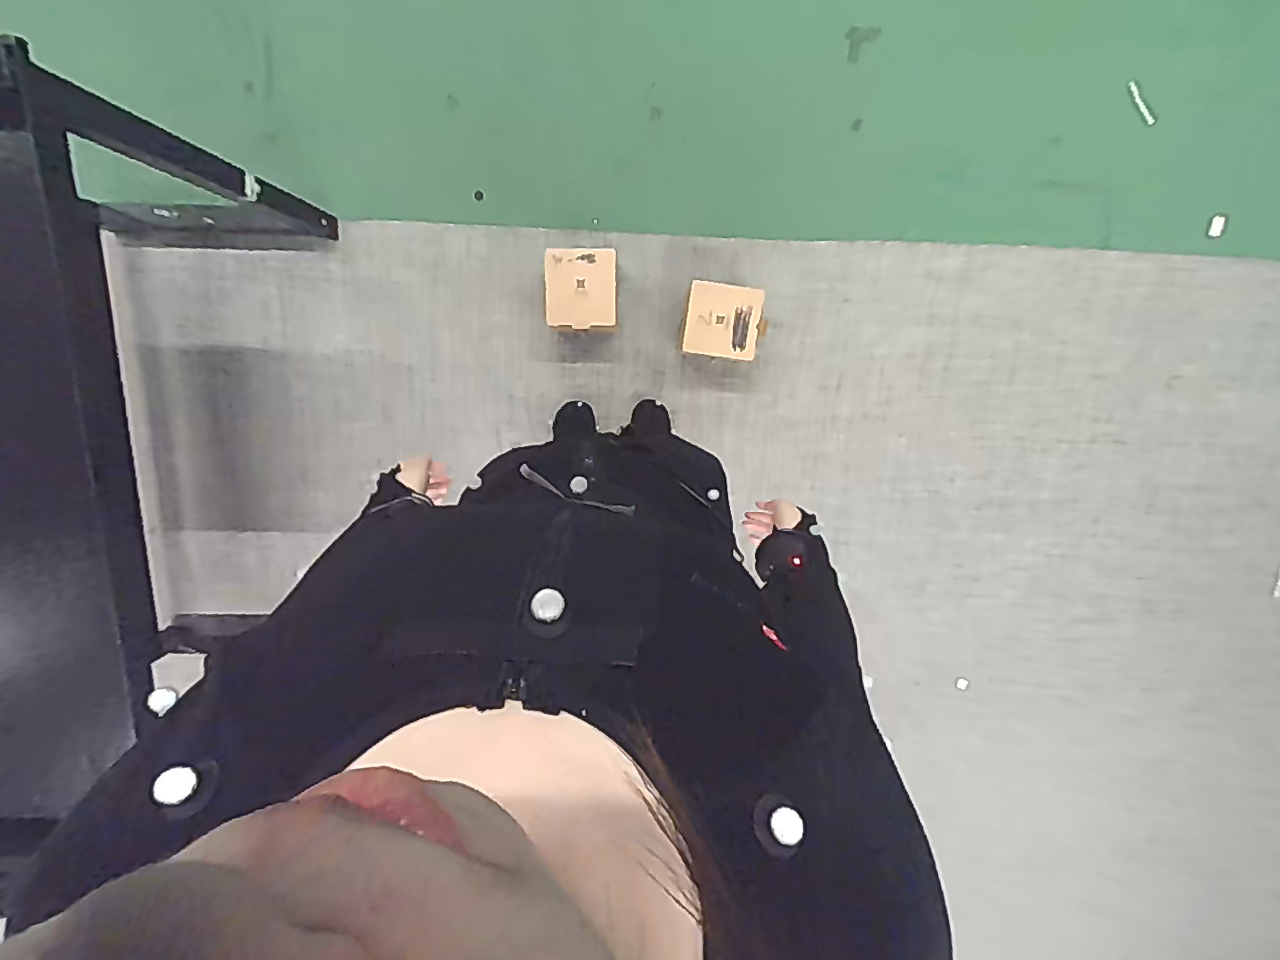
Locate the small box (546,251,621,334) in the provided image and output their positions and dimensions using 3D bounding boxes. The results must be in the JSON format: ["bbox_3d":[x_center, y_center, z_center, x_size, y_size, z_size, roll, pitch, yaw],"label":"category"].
[{"bbox_3d":[-0.132,-0.450,1.318,0.168,0.176,0.179,0,102,0],"label":"small box"}]
